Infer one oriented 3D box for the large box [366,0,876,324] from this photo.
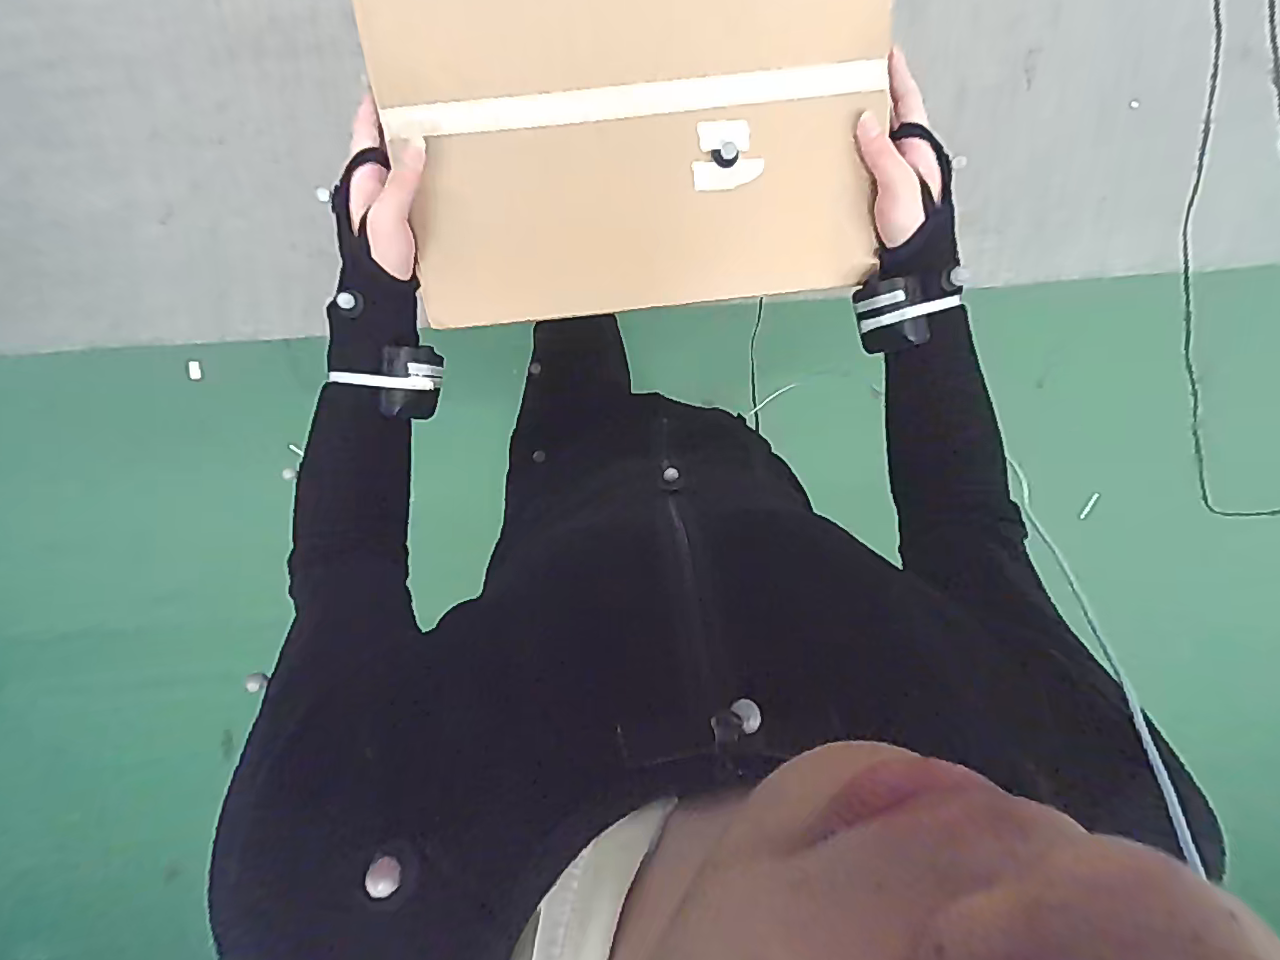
[{"bbox_3d":[-0.015,-0.357,0.585,0.408,0.320,0.320,-7,109,-3],"label":"large box"}]
